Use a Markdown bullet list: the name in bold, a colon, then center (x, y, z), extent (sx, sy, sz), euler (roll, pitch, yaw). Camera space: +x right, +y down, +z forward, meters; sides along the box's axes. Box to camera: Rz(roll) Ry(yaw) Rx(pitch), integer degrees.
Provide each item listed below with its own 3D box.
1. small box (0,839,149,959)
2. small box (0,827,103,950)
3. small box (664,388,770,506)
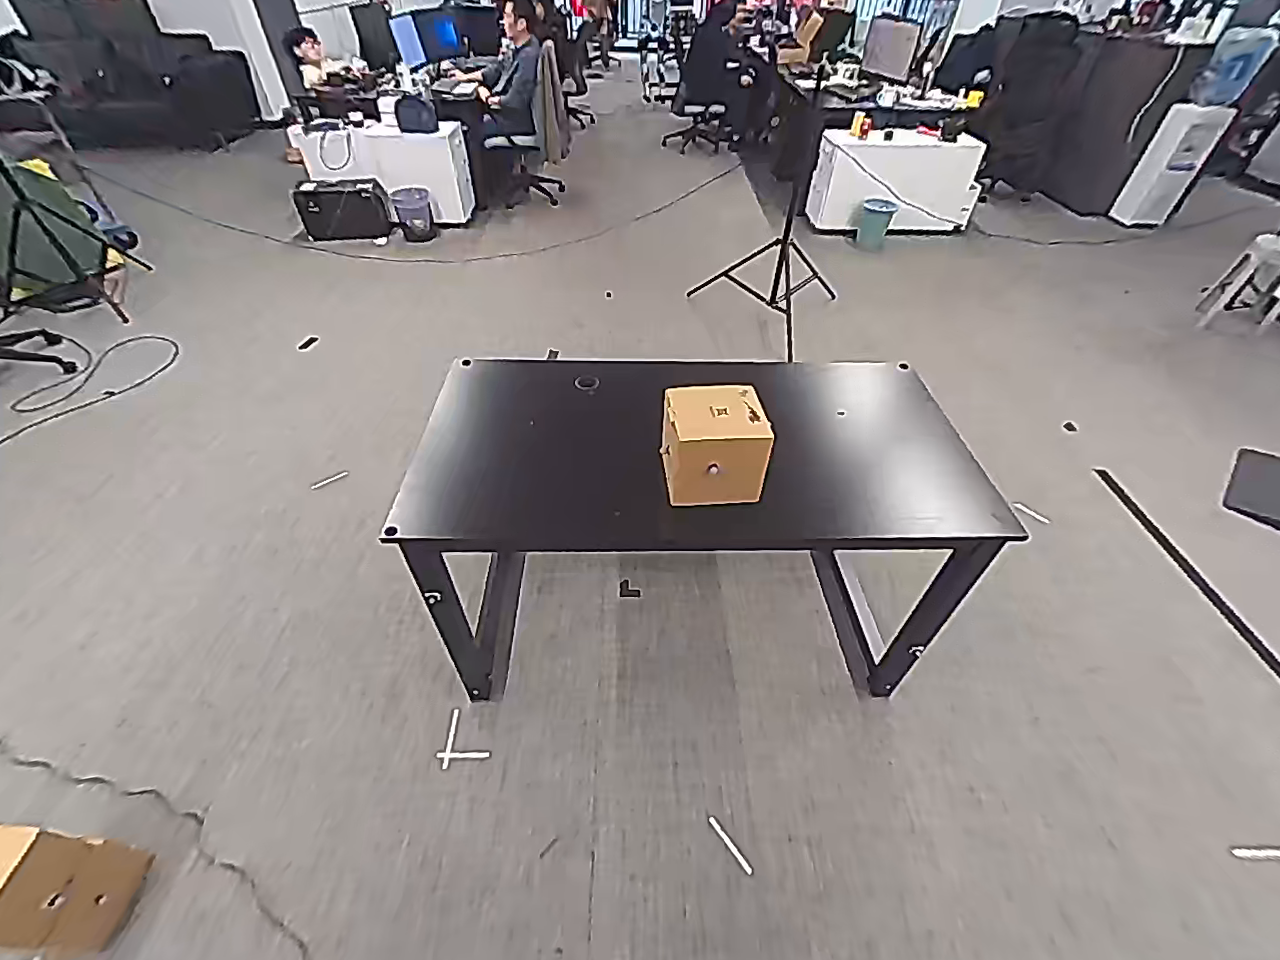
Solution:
- **small box**: center (-1.184, 0.868, 1.120), extent (0.168, 0.176, 0.179), euler (0, 46, -2)
- **small box**: center (-1.185, 0.757, 1.001), extent (0.179, 0.176, 0.168), euler (2, 47, -1)
- **small box**: center (0.142, -0.063, 1.069), extent (0.179, 0.176, 0.168), euler (-4, 44, -4)
